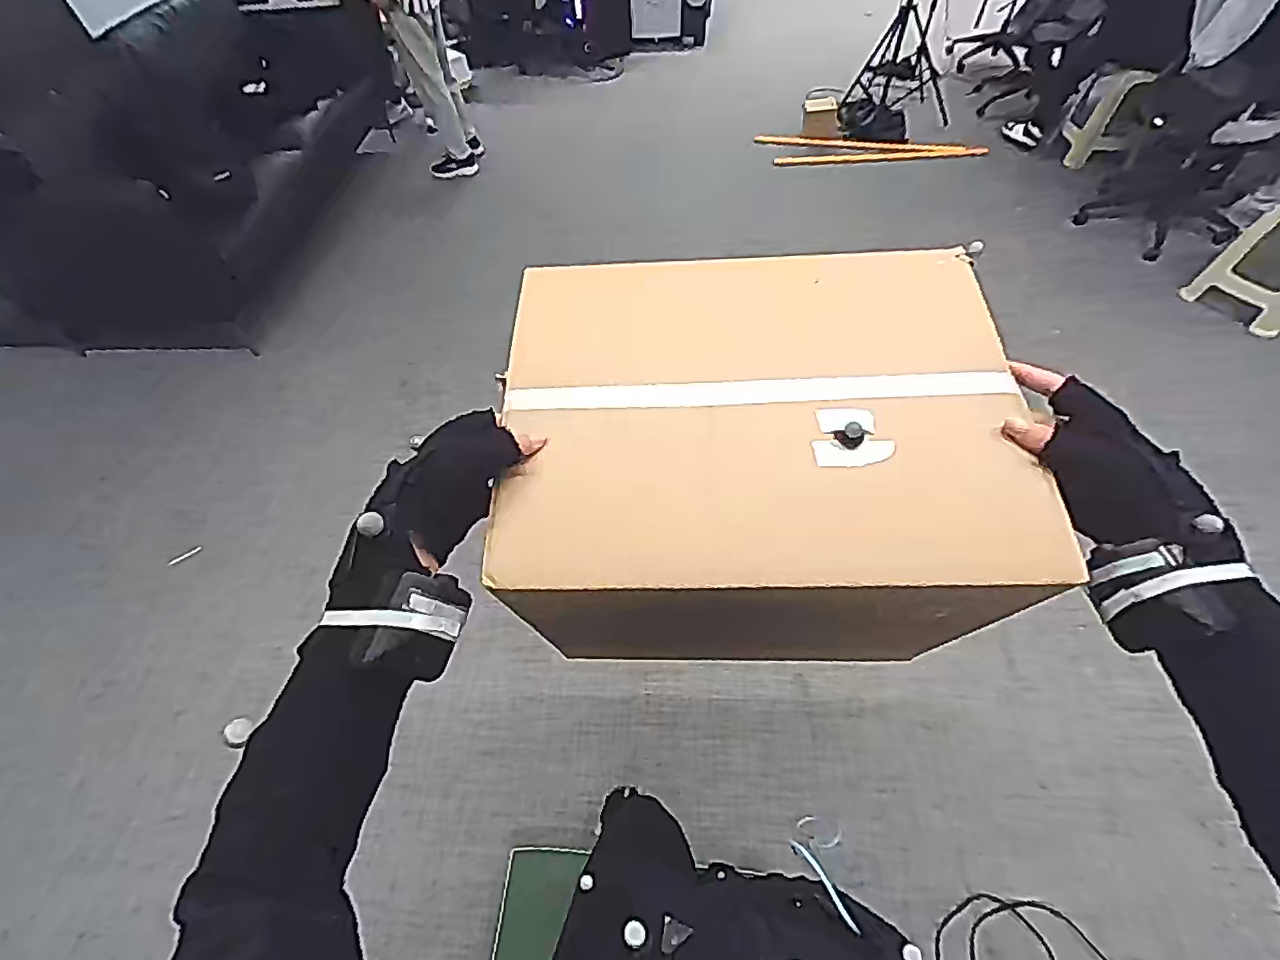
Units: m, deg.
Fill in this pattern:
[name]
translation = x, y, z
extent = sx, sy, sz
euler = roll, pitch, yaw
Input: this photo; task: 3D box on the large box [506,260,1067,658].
[large box]
translation = 0.104, 0.002, 0.580
extent = 0.408, 0.320, 0.320
euler = -1, 63, 3
